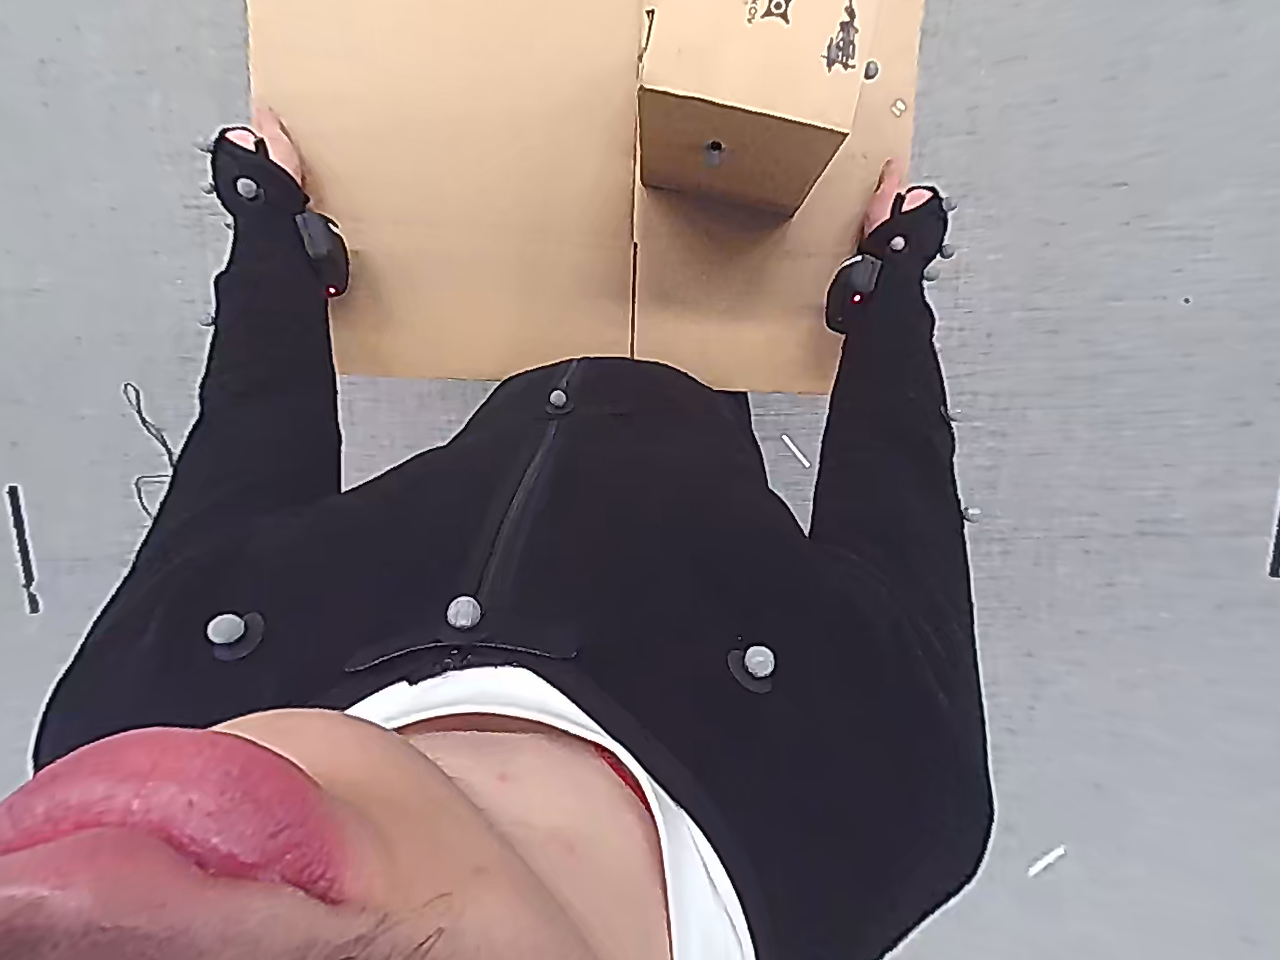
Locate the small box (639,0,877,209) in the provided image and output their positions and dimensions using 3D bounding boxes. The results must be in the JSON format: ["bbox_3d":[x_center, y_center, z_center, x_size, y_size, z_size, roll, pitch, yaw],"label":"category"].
[{"bbox_3d":[0.103,-0.383,0.512,0.179,0.176,0.168,12,95,1],"label":"small box"}]
